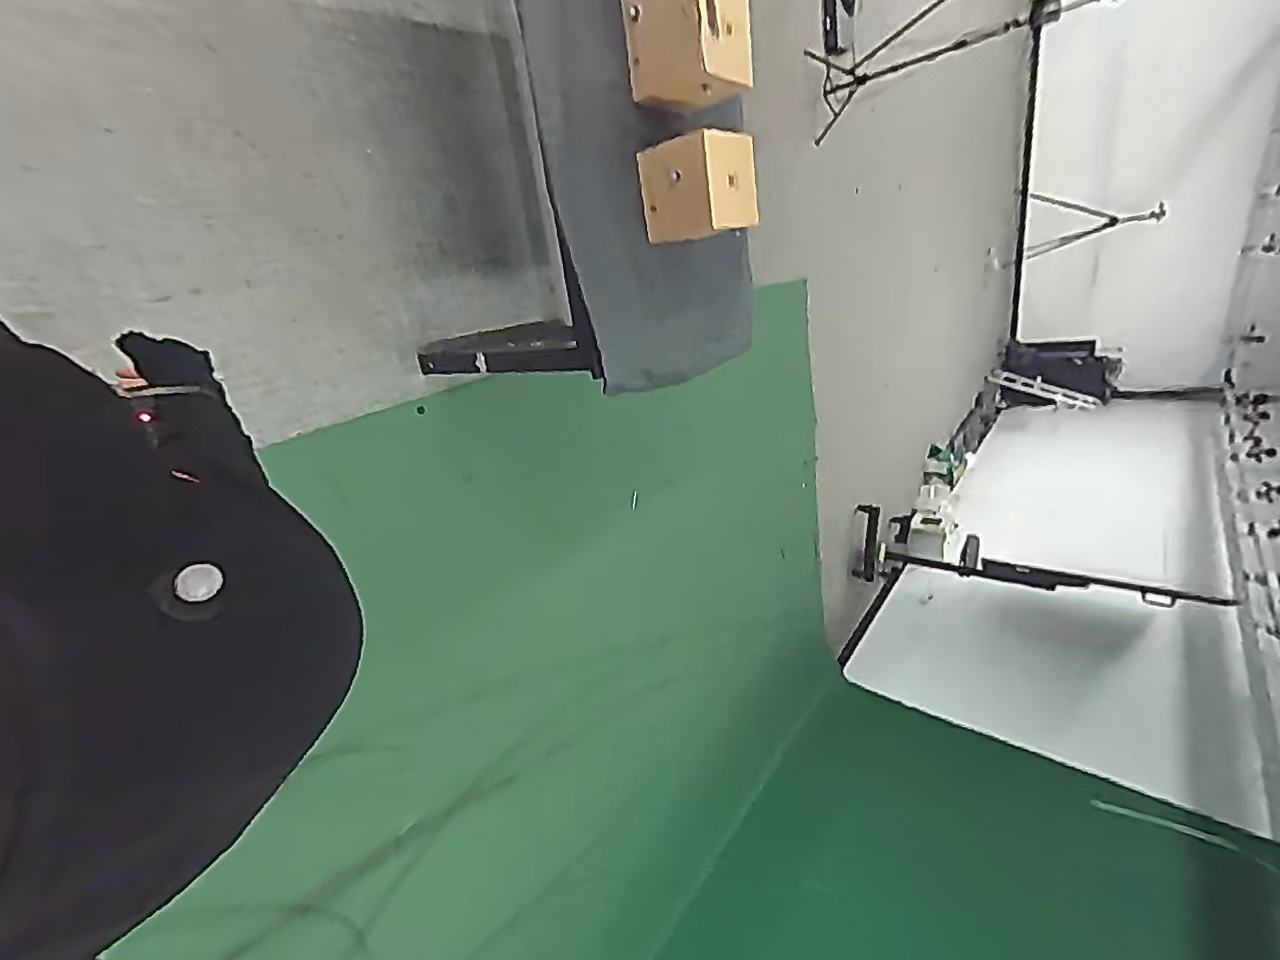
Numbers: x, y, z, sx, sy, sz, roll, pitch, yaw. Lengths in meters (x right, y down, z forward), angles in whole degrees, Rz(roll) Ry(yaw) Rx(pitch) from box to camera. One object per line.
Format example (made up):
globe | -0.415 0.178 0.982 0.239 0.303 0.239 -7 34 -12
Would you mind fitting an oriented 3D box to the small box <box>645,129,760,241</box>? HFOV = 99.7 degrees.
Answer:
small box | 0.124 -0.591 1.099 0.179 0.176 0.168 -30 119 -43
